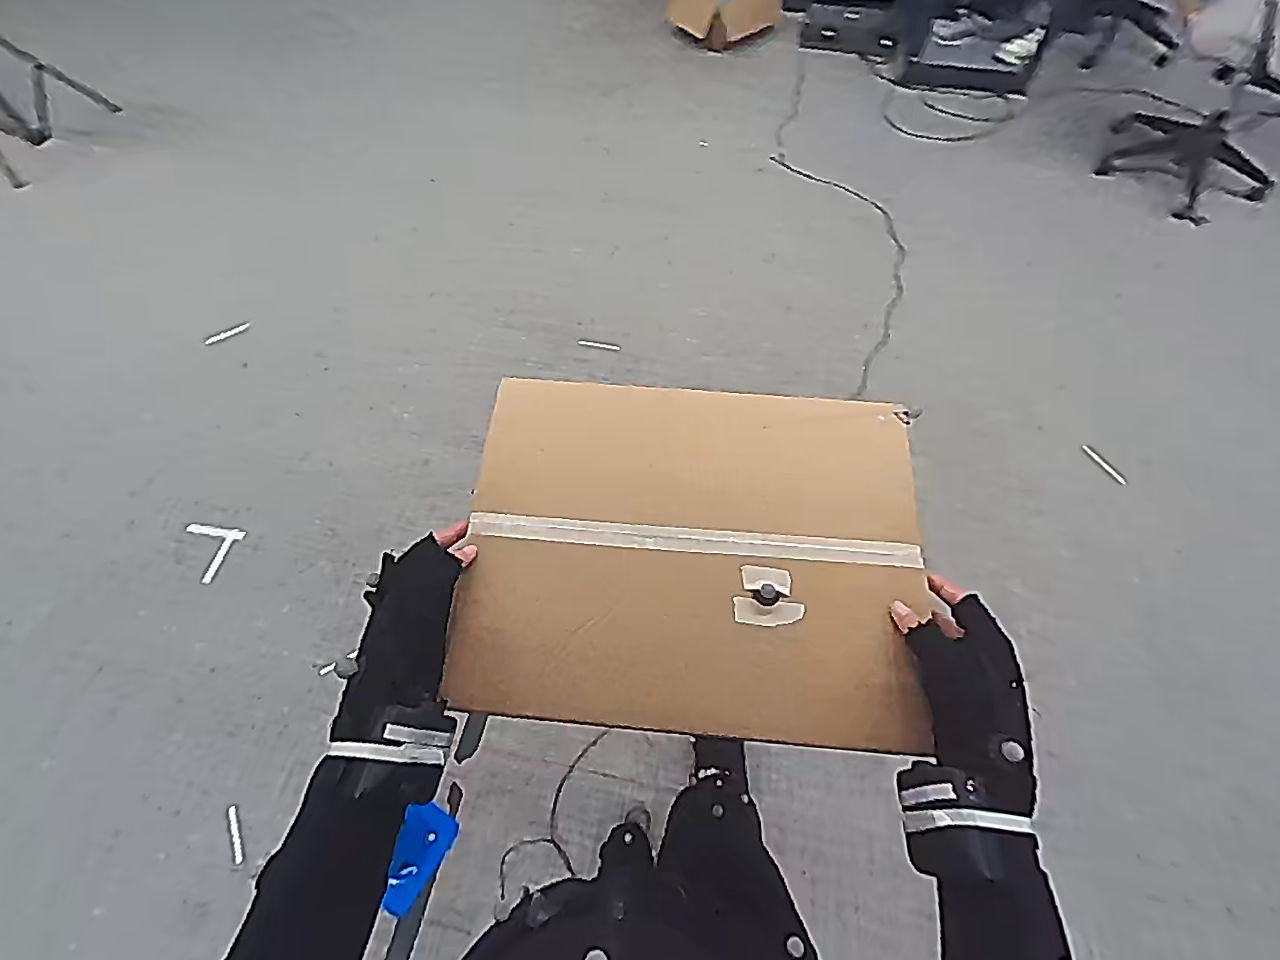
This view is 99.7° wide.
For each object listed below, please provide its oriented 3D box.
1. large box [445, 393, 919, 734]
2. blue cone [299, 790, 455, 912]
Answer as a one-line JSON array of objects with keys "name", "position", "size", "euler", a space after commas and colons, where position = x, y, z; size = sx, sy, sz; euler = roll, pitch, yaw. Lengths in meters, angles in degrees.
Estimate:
[{"name": "large box", "position": [0.041, 0.116, 0.641], "size": [0.408, 0.320, 0.320], "euler": [4, 68, 3]}, {"name": "blue cone", "position": [-0.535, 0.743, 1.062], "size": [0.193, 0.380, 0.192], "euler": [30, 67, 17]}]
